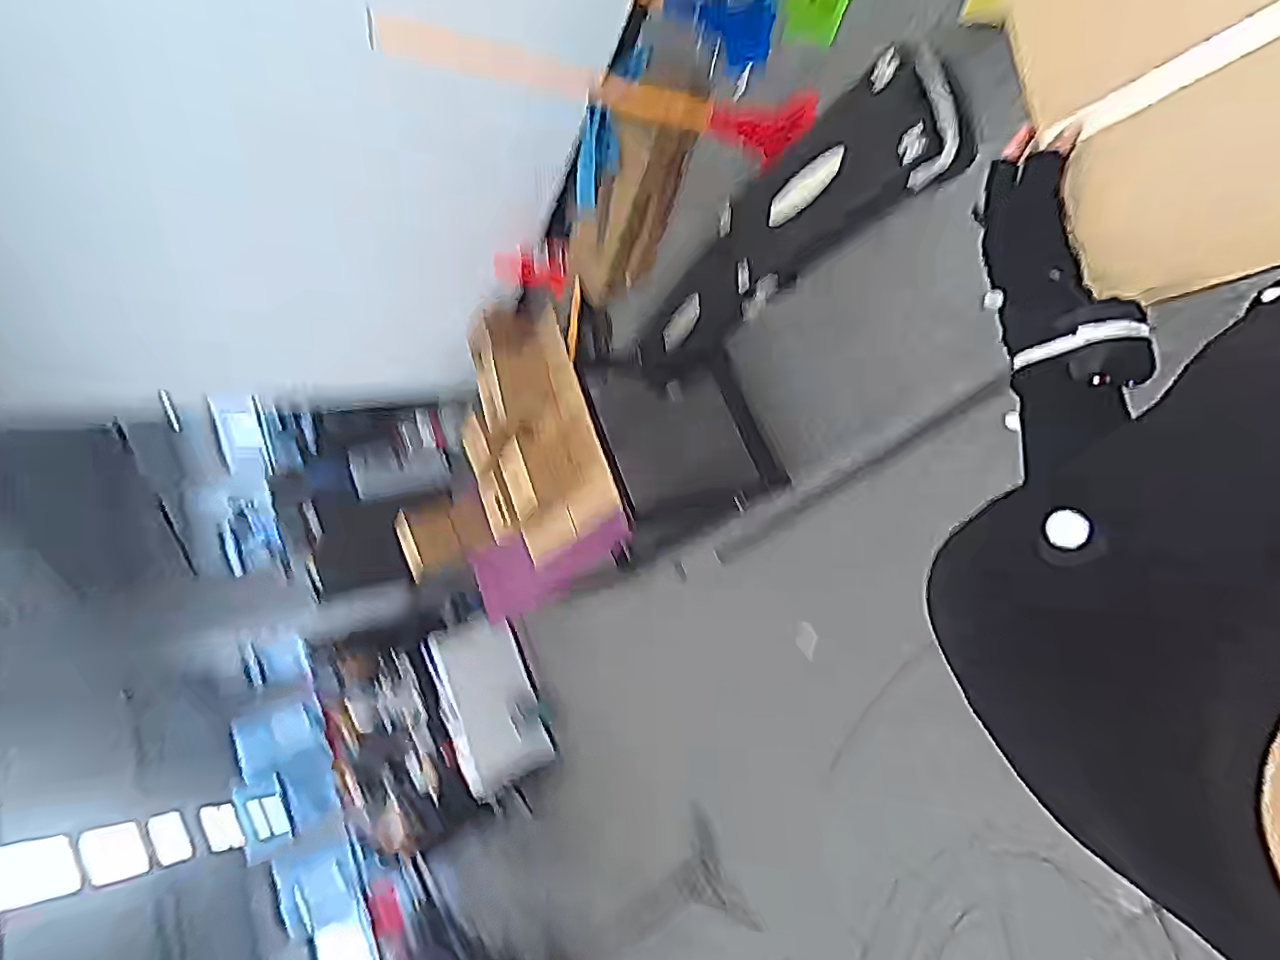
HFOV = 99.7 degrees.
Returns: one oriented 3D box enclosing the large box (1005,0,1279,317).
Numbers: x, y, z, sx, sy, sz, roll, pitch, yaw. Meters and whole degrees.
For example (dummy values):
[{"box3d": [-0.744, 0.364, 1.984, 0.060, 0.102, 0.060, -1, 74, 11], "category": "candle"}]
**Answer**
[{"box3d": [0.584, -0.352, 0.406, 0.408, 0.320, 0.320, -13, 95, 53], "category": "large box"}]
